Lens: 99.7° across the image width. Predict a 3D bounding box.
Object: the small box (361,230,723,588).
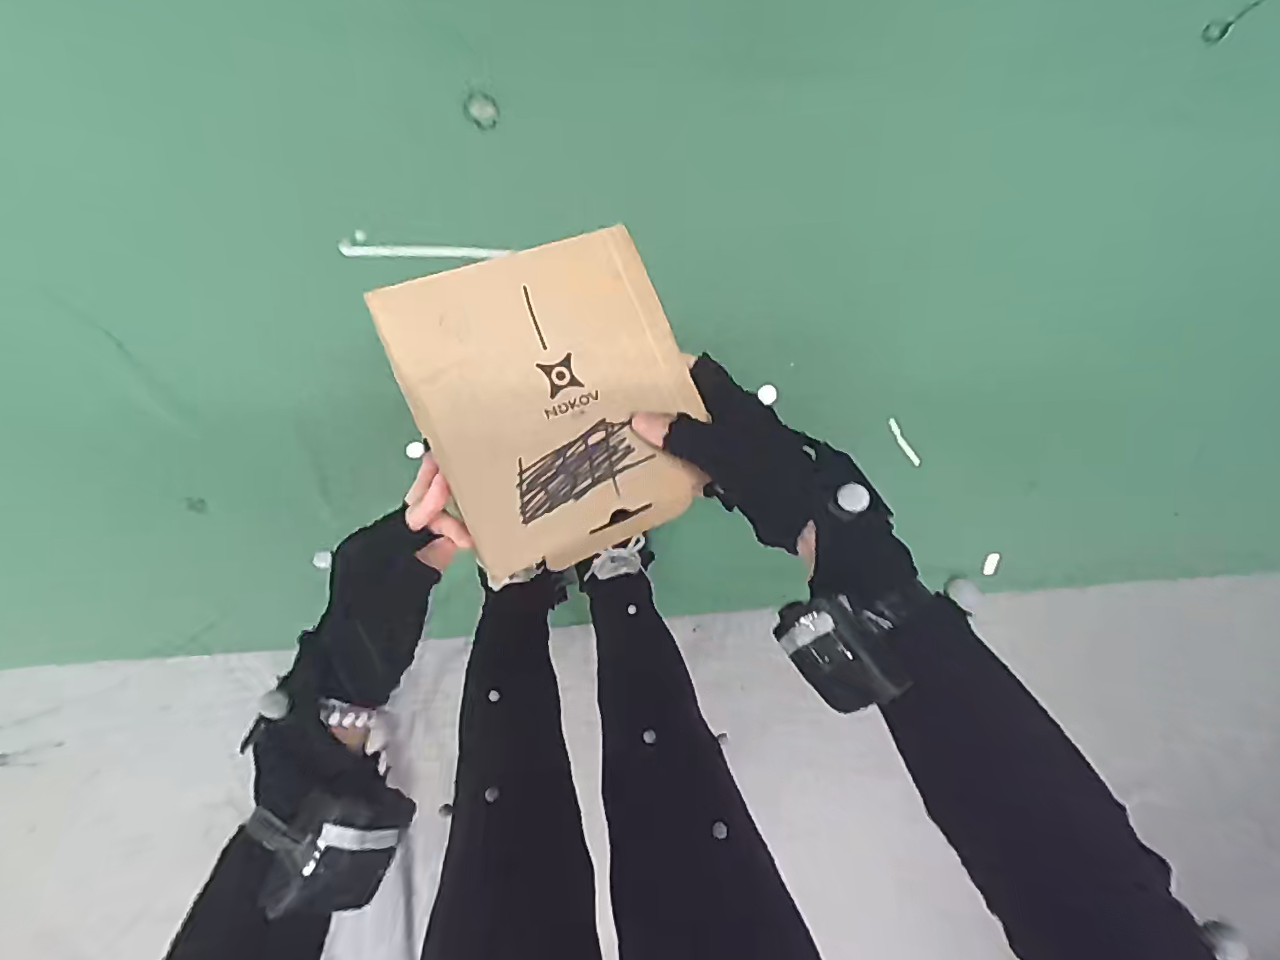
[{"bbox_3d":[-0.073,-0.043,0.393,0.168,0.176,0.179,-24,93,-20],"label":"small box"}]
